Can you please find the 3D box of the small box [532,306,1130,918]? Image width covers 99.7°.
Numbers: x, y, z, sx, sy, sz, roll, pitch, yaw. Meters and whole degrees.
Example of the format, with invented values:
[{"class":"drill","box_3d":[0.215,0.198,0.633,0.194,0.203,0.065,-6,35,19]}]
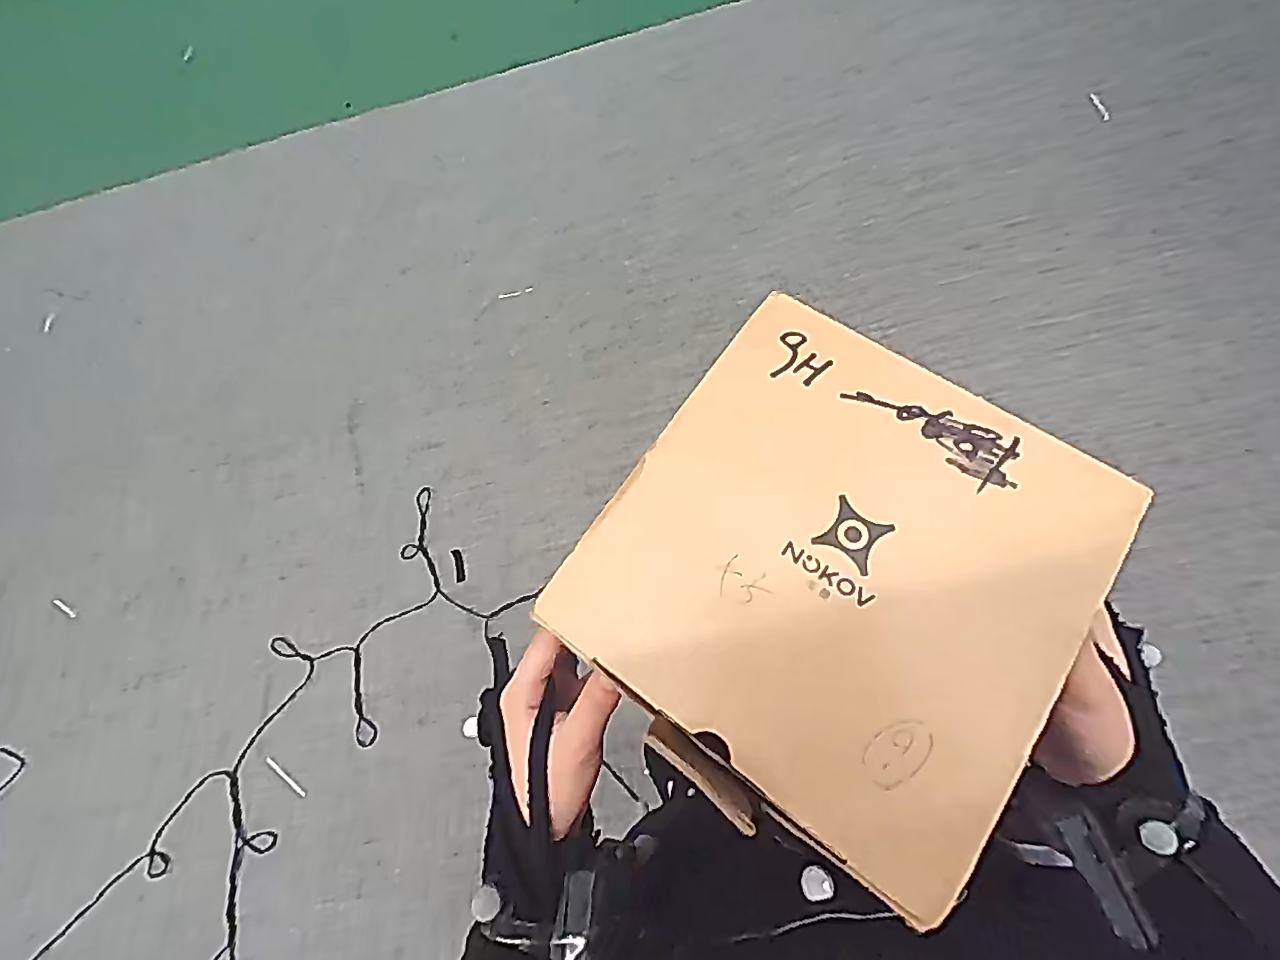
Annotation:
[{"class":"small box","box_3d":[0.078,0.056,0.284,0.168,0.176,0.179,35,78,14]}]
